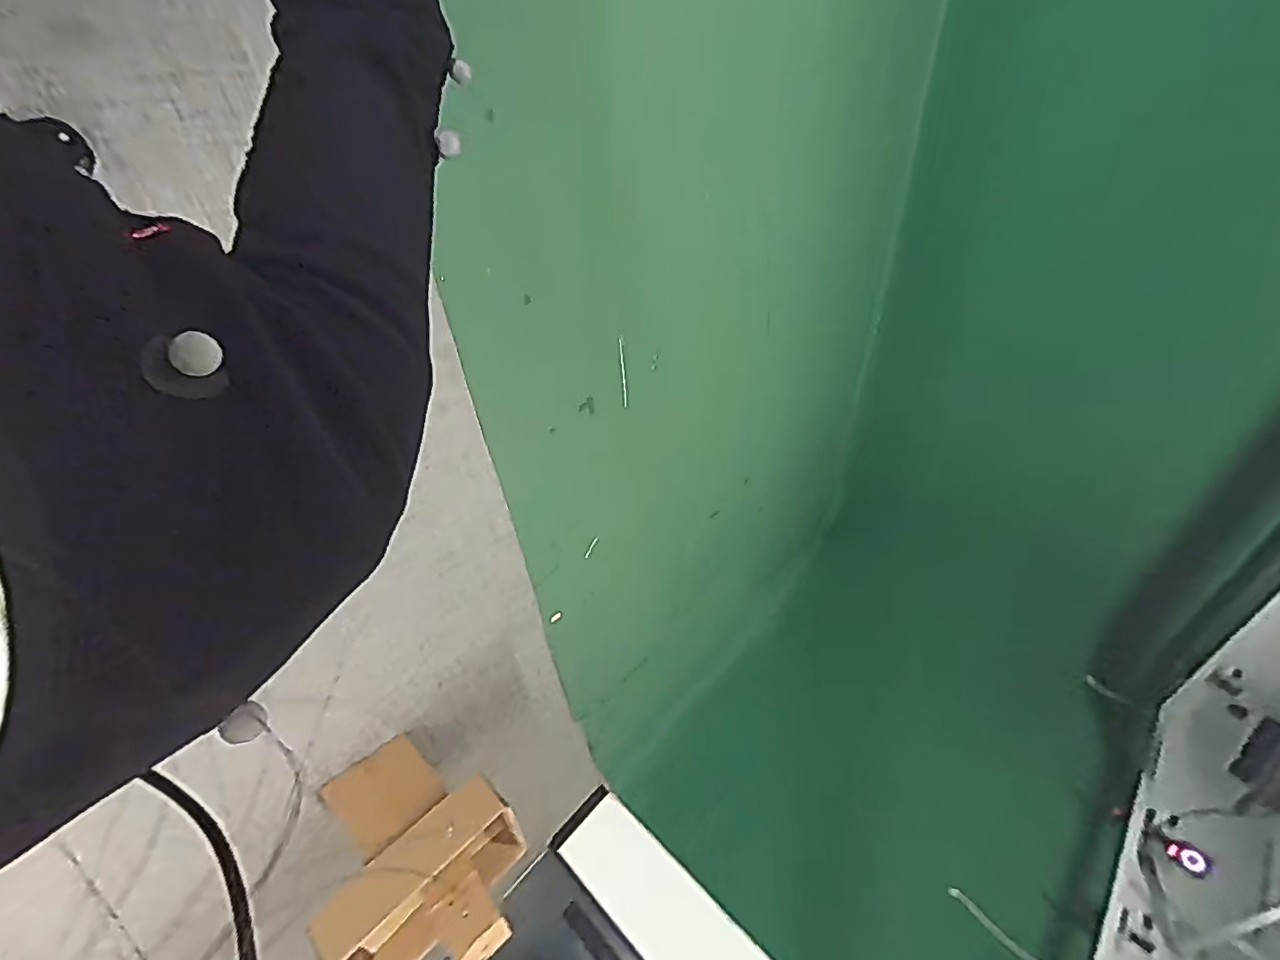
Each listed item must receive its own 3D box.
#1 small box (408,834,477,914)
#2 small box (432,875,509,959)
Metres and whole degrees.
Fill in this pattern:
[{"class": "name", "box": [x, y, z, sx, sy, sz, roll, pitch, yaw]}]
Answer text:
[{"class": "small box", "box": [-0.664, 1.355, 1.842, 0.168, 0.176, 0.179, -29, 137, -33]}, {"class": "small box", "box": [-0.551, 1.433, 1.752, 0.168, 0.176, 0.179, -29, 134, -33]}]
